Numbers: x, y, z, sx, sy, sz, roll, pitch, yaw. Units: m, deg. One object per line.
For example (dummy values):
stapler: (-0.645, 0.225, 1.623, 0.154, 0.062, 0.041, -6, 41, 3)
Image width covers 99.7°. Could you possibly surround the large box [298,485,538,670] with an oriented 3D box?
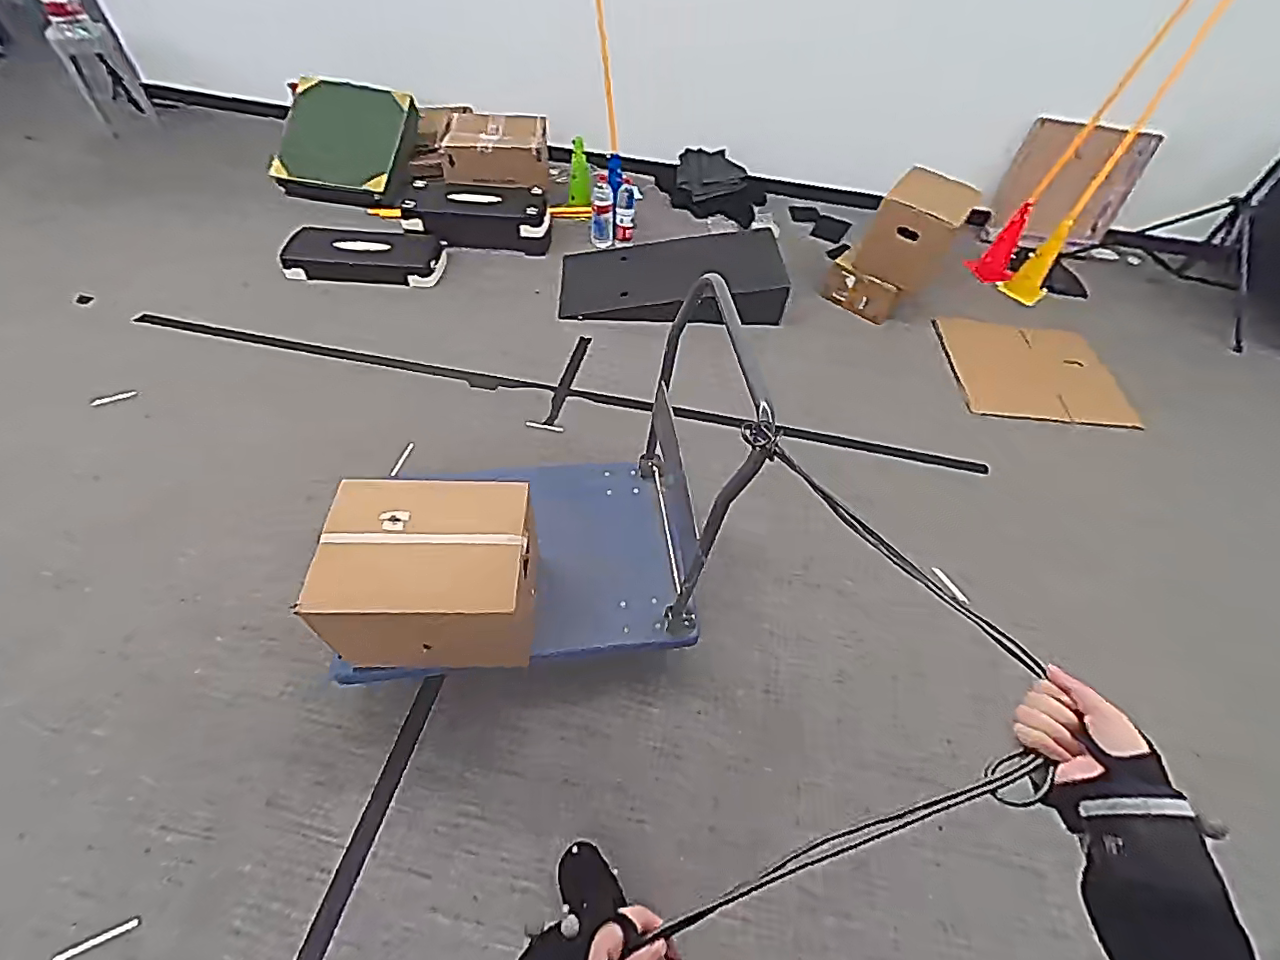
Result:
large box: (-0.447, 0.223, 1.214, 0.408, 0.320, 0.320, 0, 52, -4)
